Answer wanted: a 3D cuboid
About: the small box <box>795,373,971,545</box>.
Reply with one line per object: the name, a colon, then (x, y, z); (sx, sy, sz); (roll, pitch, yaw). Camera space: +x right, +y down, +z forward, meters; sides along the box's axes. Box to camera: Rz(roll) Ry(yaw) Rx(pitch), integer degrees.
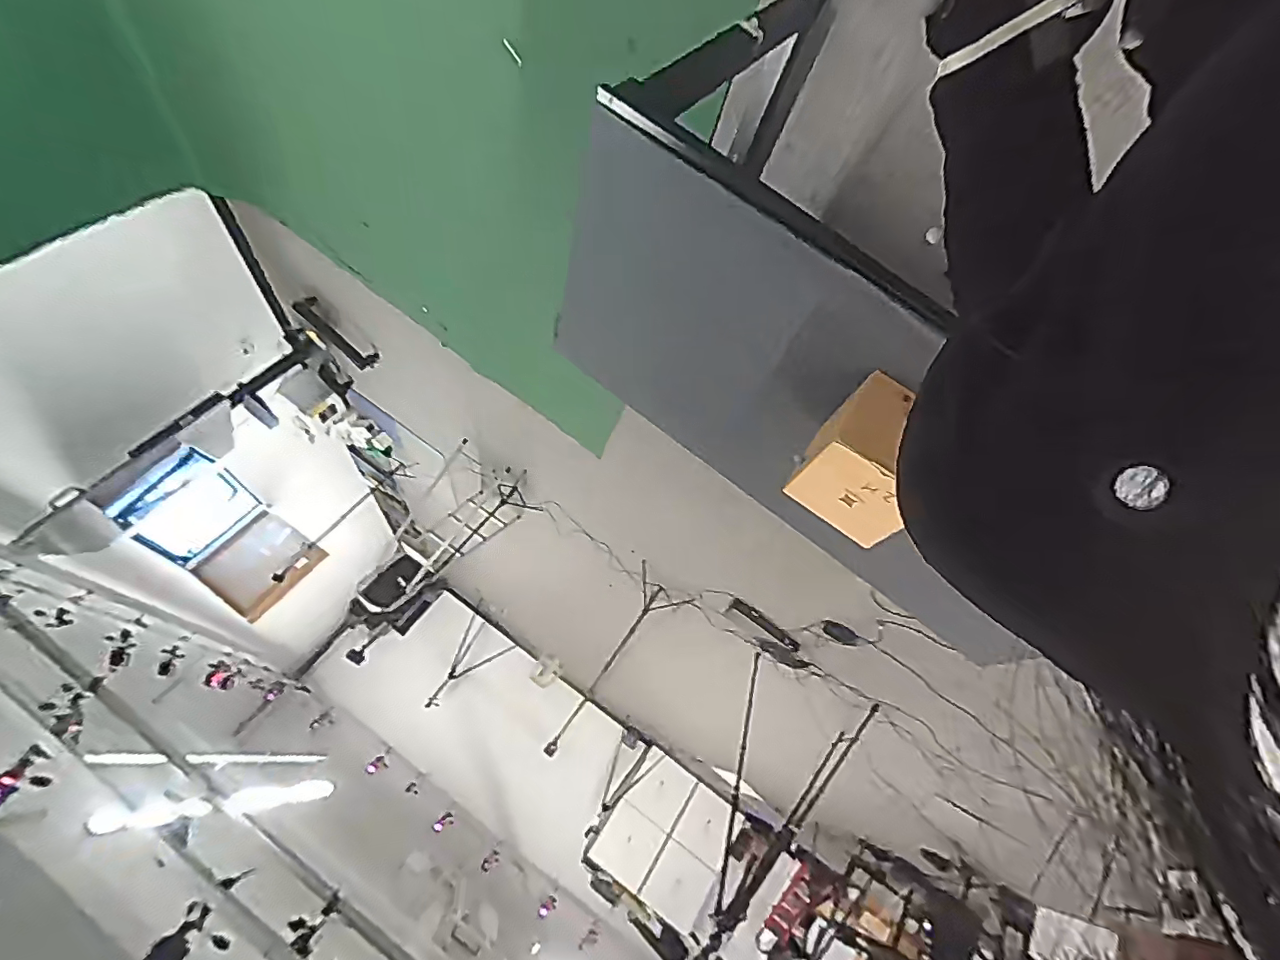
small box: (0.382, -0.032, 0.856); (0.168, 0.176, 0.179); (35, 152, 6)
